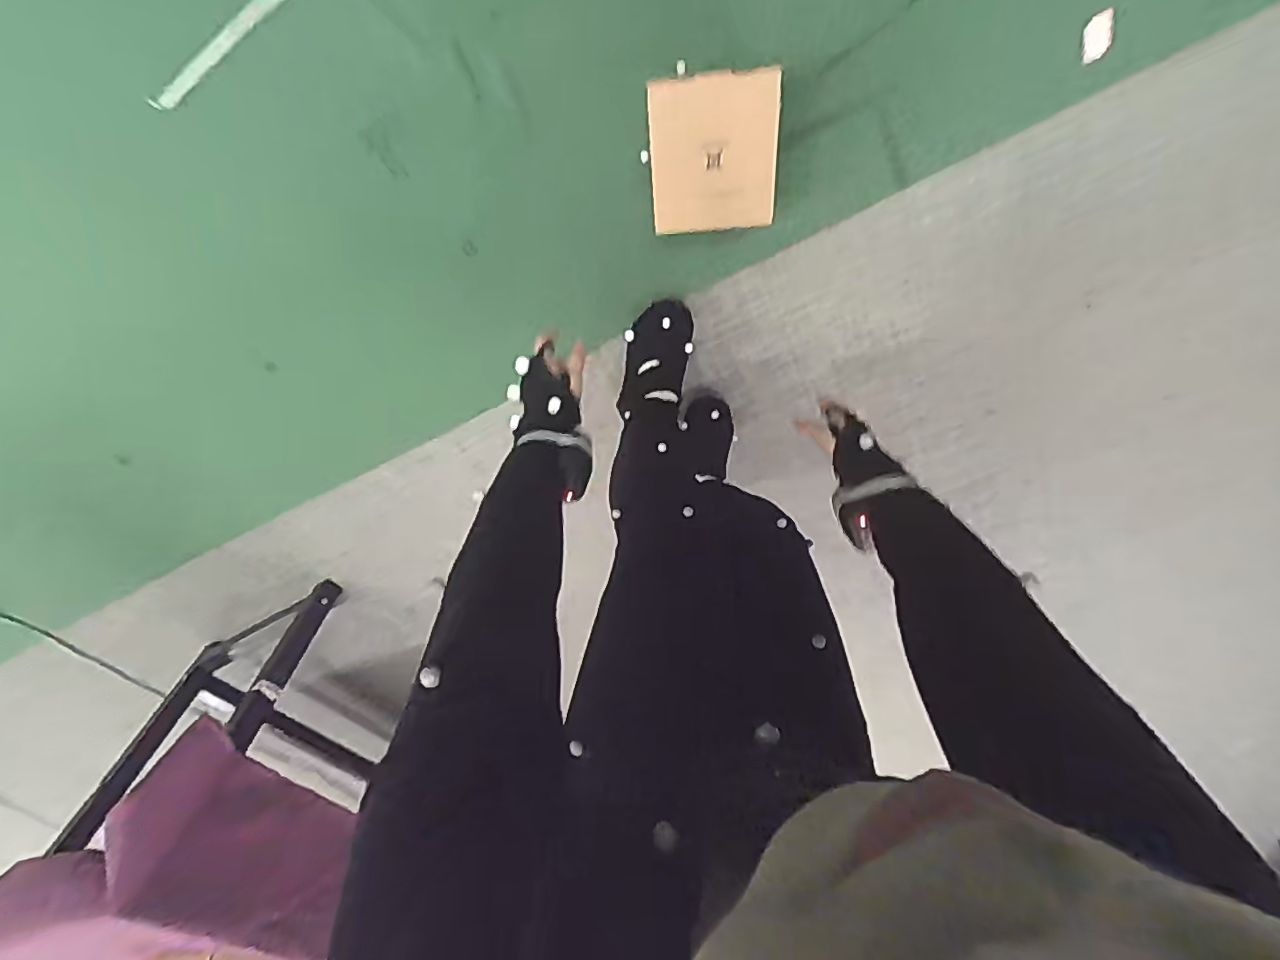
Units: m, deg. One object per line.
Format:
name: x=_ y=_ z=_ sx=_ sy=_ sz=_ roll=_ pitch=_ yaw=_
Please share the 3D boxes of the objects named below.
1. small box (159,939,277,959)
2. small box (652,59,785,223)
small box: x=-0.820 y=0.984 z=1.001 sx=0.179 sy=0.176 sz=0.168 roll=-21 pitch=124 yaw=16
small box: x=0.103 y=-0.482 z=0.773 sx=0.168 sy=0.176 sz=0.179 roll=-2 pitch=127 yaw=4
